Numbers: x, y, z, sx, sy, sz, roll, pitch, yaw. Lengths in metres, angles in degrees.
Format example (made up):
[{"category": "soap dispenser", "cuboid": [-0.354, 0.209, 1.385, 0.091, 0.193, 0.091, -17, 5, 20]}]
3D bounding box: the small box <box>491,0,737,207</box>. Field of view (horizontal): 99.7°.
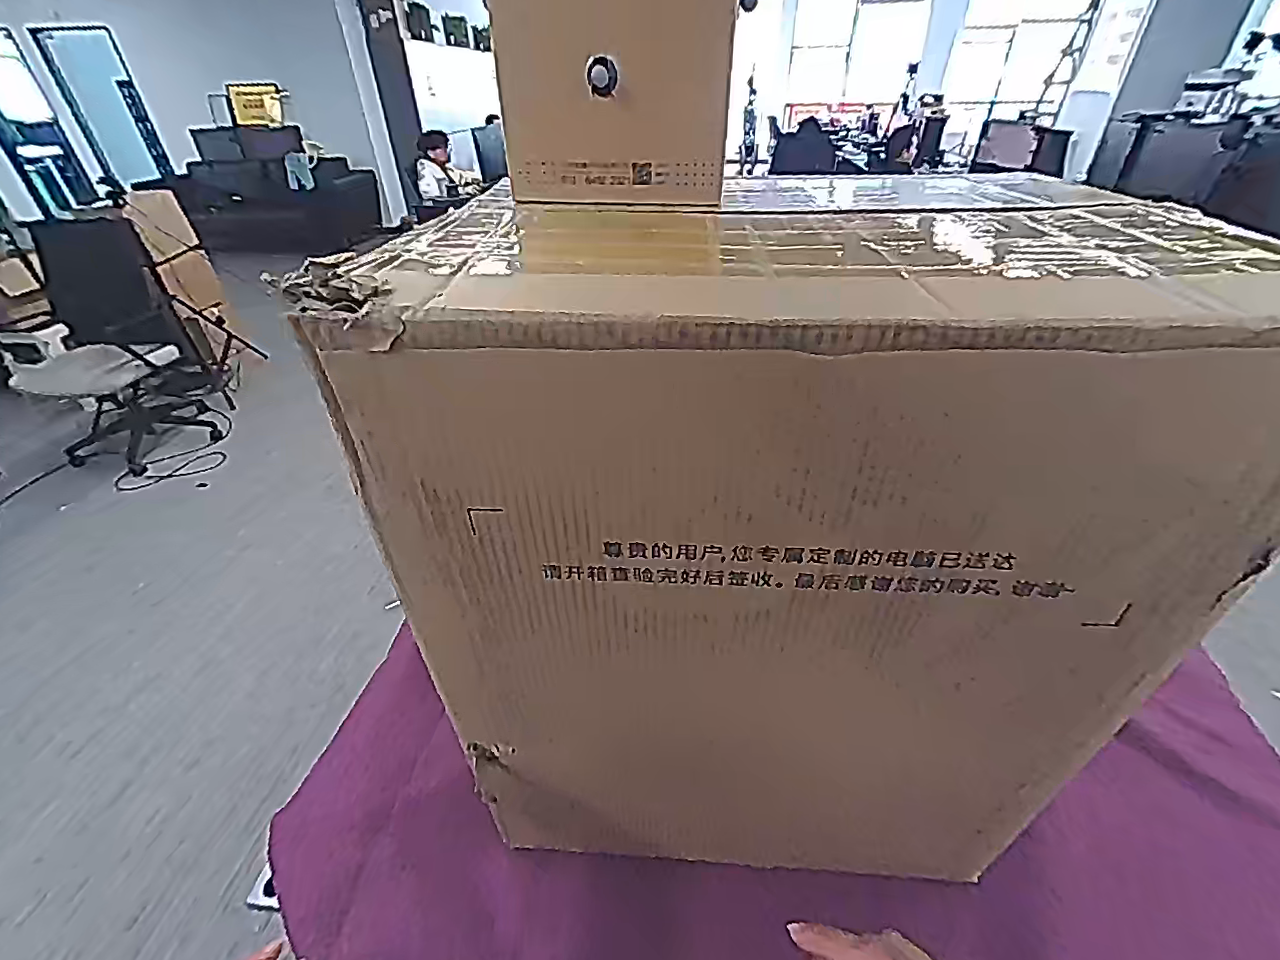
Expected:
[{"category": "small box", "cuboid": [-0.008, -0.328, 0.441, 0.168, 0.176, 0.179, 5, 36, 6]}]
